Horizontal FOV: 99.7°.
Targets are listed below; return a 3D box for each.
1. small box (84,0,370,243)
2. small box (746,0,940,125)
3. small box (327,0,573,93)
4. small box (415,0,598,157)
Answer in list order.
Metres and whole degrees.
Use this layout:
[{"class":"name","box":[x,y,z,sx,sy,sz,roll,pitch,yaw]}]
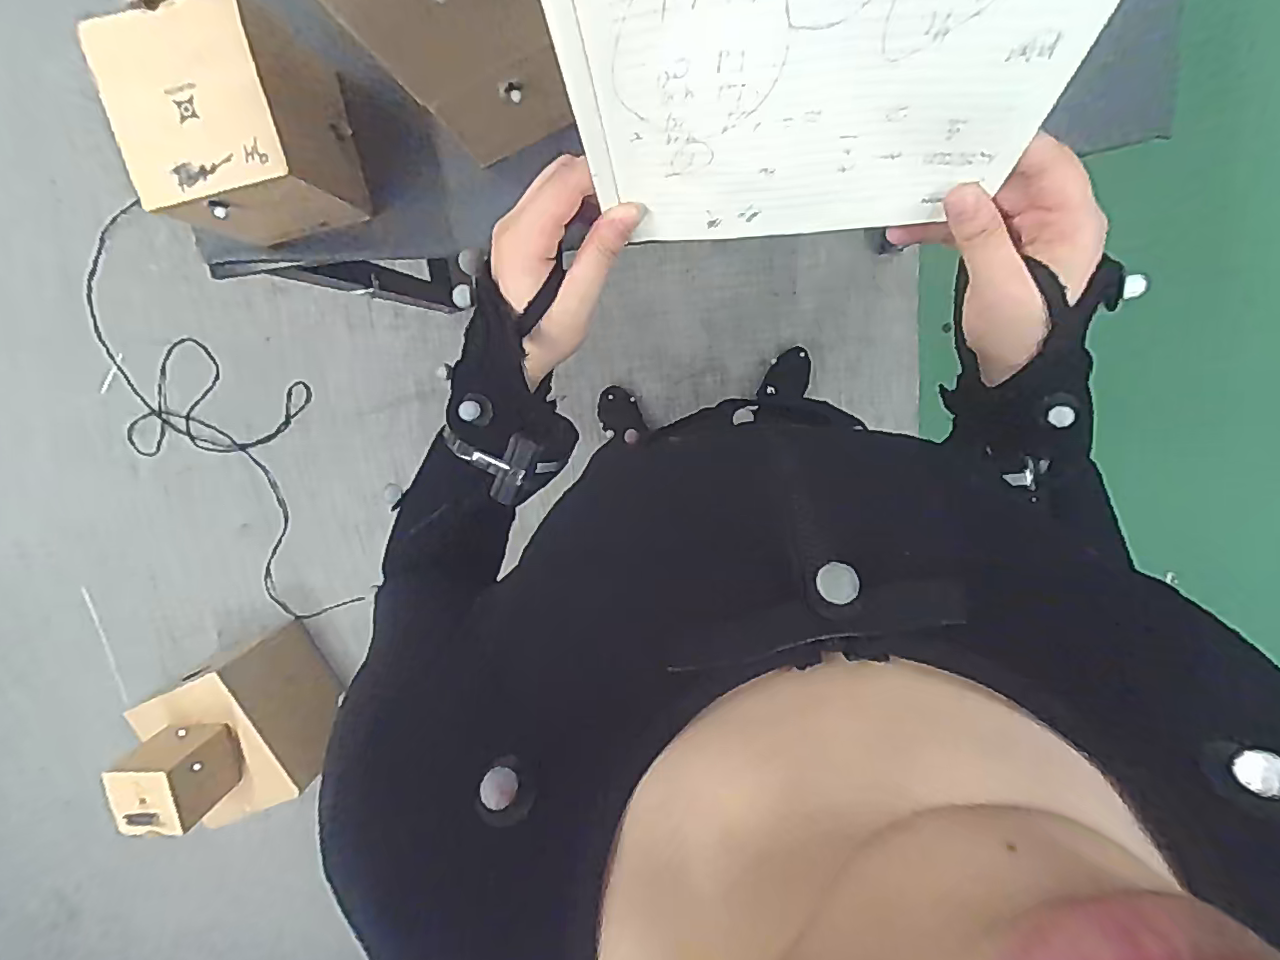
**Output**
[{"class":"small box","box":[-0.447,-0.396,0.618,0.168,0.176,0.179,-11,101,5]},{"class":"small box","box":[0.210,-0.502,0.550,0.168,0.176,0.179,10,103,3]},{"class":"small box","box":[-0.171,-0.451,0.421,0.179,0.176,0.168,-19,100,8]},{"class":"small box","box":[-0.161,-0.488,0.581,0.179,0.176,0.168,-22,100,8]}]
